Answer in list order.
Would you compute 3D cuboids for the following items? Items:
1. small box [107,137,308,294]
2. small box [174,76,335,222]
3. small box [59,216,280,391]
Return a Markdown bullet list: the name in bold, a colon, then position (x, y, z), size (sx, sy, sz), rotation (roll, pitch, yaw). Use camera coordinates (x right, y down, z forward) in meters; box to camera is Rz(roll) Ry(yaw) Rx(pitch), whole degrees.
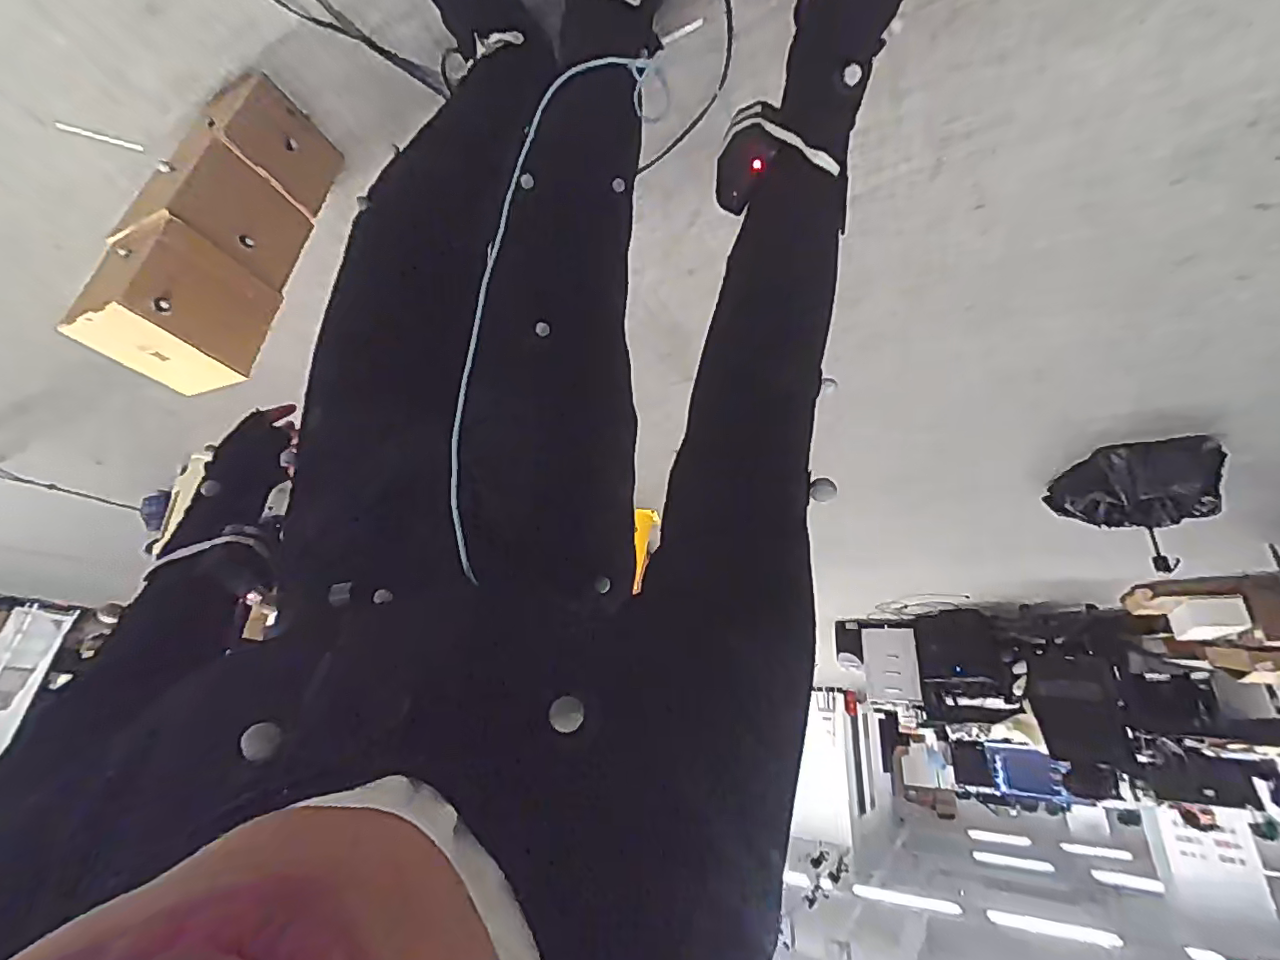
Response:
- **small box**: position (-0.696, -0.414, 0.892), size (0.168, 0.176, 0.179), rotation (-6, 153, 23)
- **small box**: position (-0.677, -0.563, 0.958), size (0.179, 0.176, 0.168), rotation (-7, 153, 24)
- **small box**: position (-0.704, -0.263, 0.832), size (0.168, 0.176, 0.179), rotation (-6, 153, 23)
